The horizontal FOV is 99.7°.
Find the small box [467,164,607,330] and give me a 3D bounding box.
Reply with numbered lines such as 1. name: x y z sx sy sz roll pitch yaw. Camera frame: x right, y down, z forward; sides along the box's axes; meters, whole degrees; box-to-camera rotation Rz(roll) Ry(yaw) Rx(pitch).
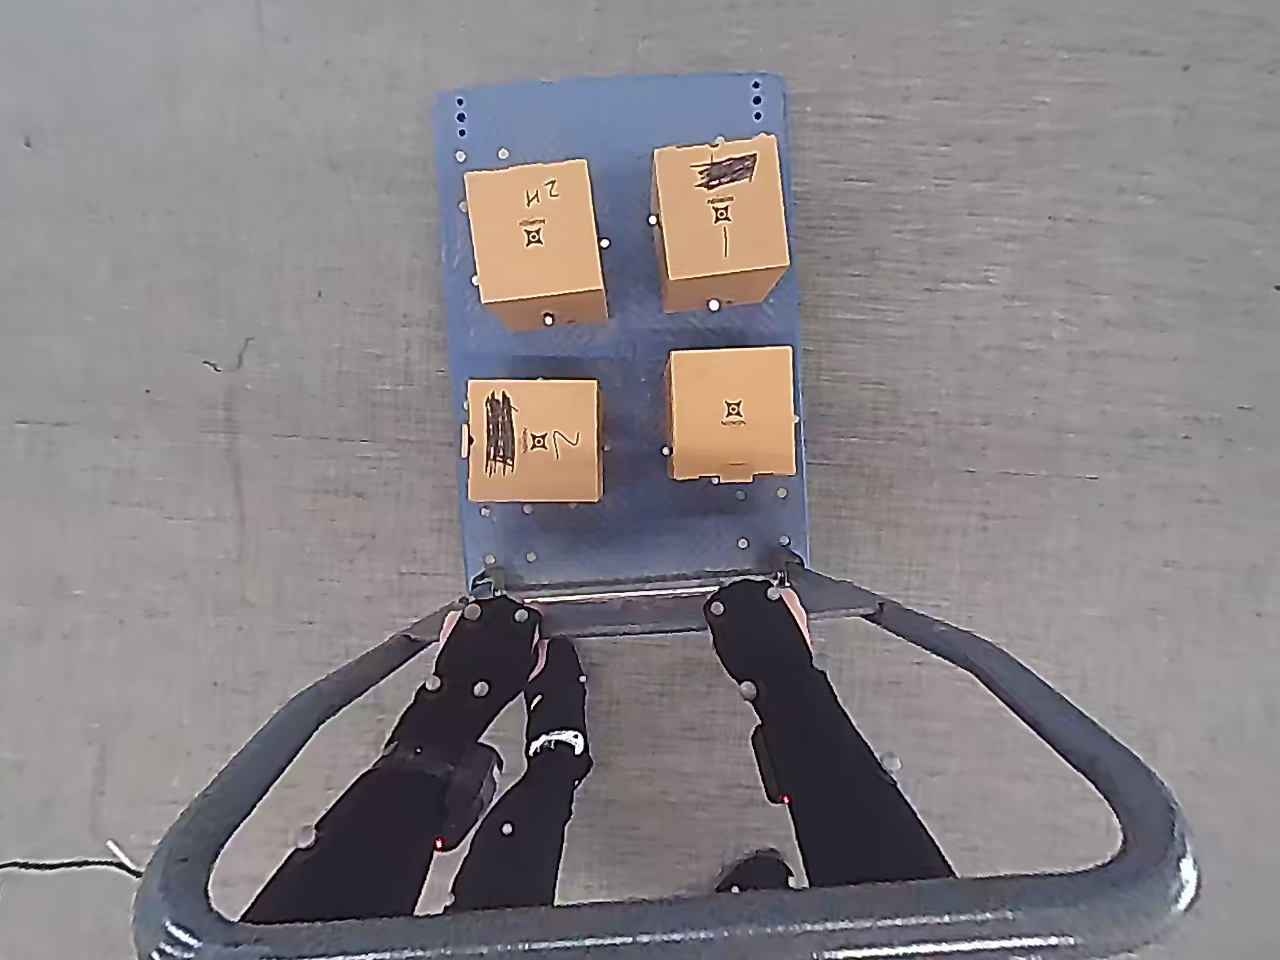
1. small box: -0.140 -0.327 0.796 0.168 0.176 0.179 -7 92 -1

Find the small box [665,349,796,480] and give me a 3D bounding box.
1. small box: 0.125 -0.089 0.807 0.168 0.176 0.179 -2 92 -1

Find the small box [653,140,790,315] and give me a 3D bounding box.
1. small box: 0.110 -0.359 0.798 0.168 0.176 0.179 -7 93 0
